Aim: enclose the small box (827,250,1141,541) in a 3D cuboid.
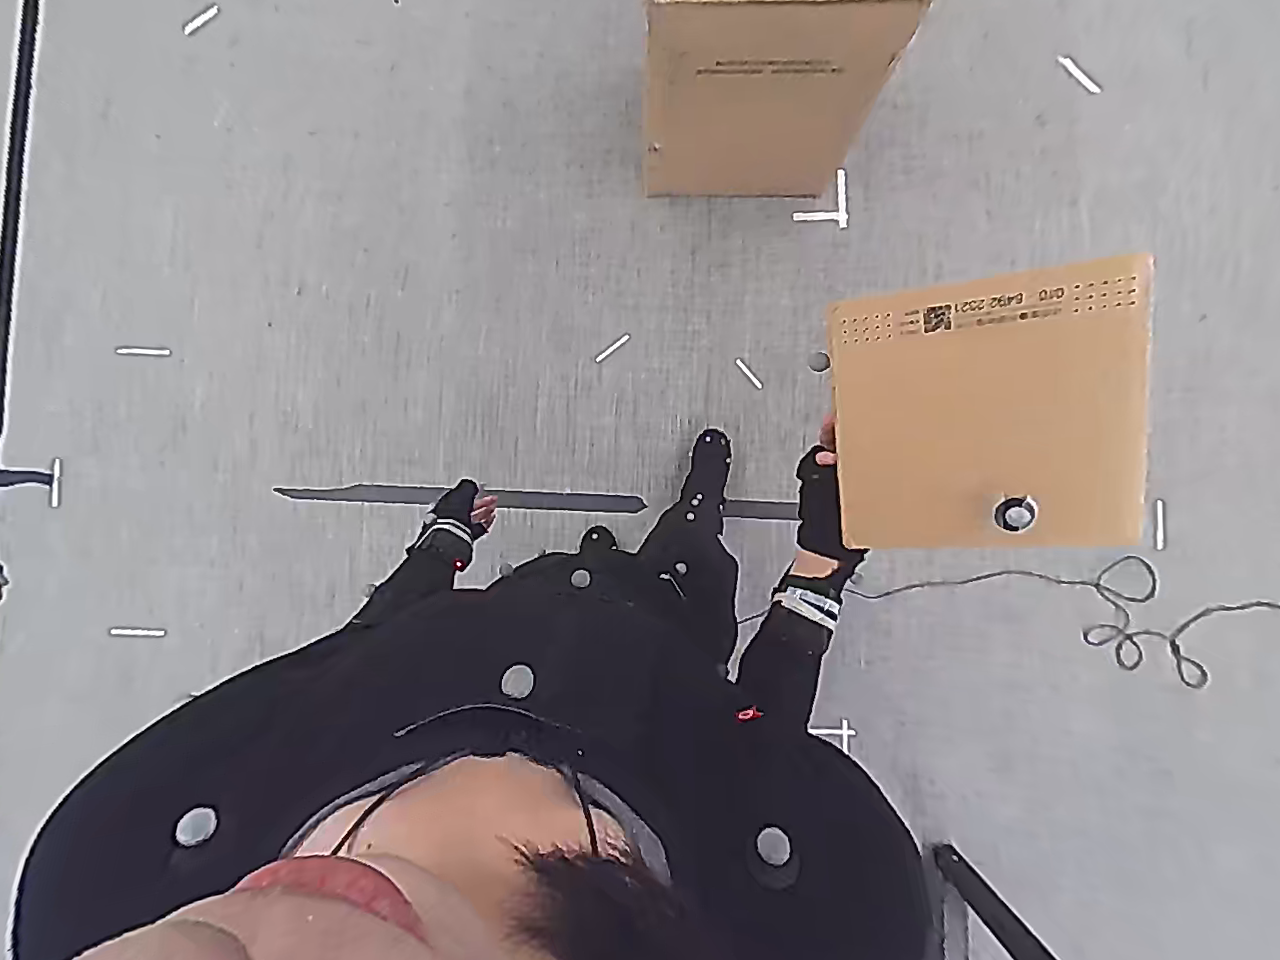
[{"bbox_3d":[0.232,-0.061,0.401,0.168,0.179,0.176,-4,101,21],"label":"small box"}]
